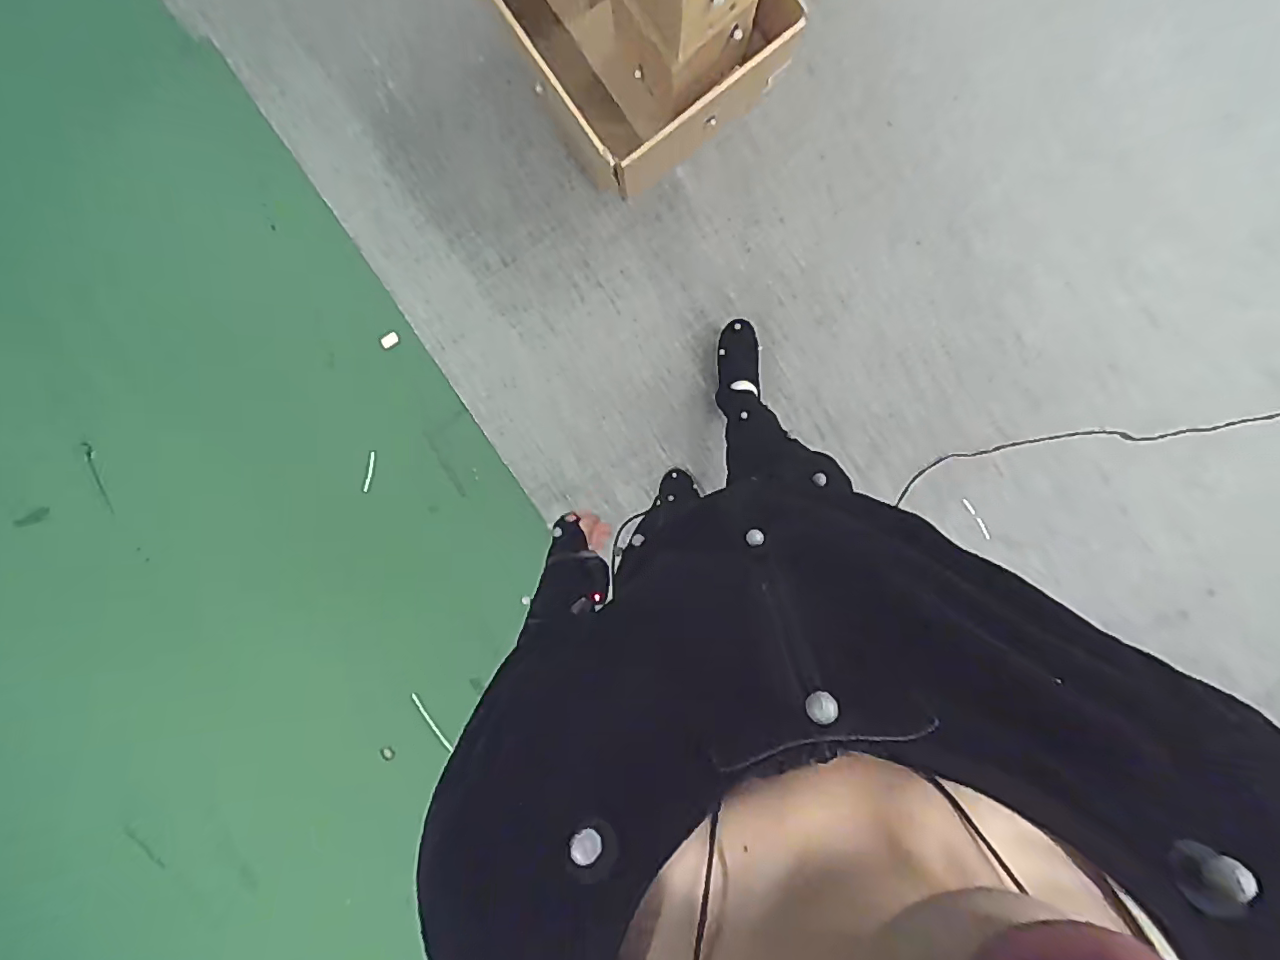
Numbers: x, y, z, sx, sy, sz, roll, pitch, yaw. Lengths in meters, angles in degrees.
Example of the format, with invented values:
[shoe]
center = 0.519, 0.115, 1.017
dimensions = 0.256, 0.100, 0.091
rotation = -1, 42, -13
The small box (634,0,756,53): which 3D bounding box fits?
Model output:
[small box]
center = 0.073, -0.757, 0.759
dimensions = 0.168, 0.176, 0.179
rotation = -37, 94, 6
